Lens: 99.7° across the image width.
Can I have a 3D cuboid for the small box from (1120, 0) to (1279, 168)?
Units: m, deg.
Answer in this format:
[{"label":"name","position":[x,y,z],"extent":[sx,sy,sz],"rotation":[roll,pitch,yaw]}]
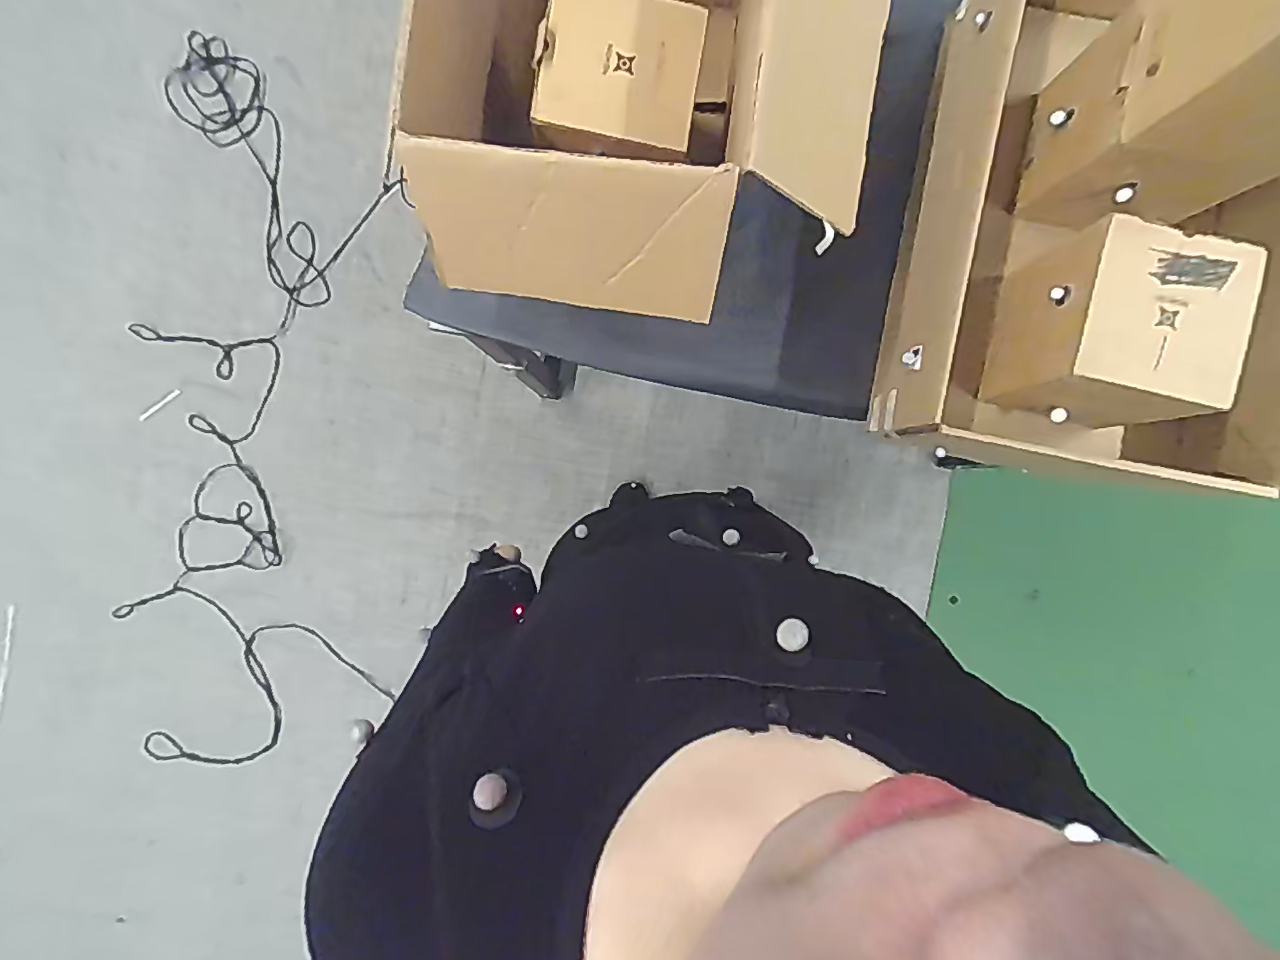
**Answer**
[{"label":"small box","position":[0.586,-0.408,0.476],"extent":[0.179,0.176,0.168],"rotation":[10,92,0]}]
